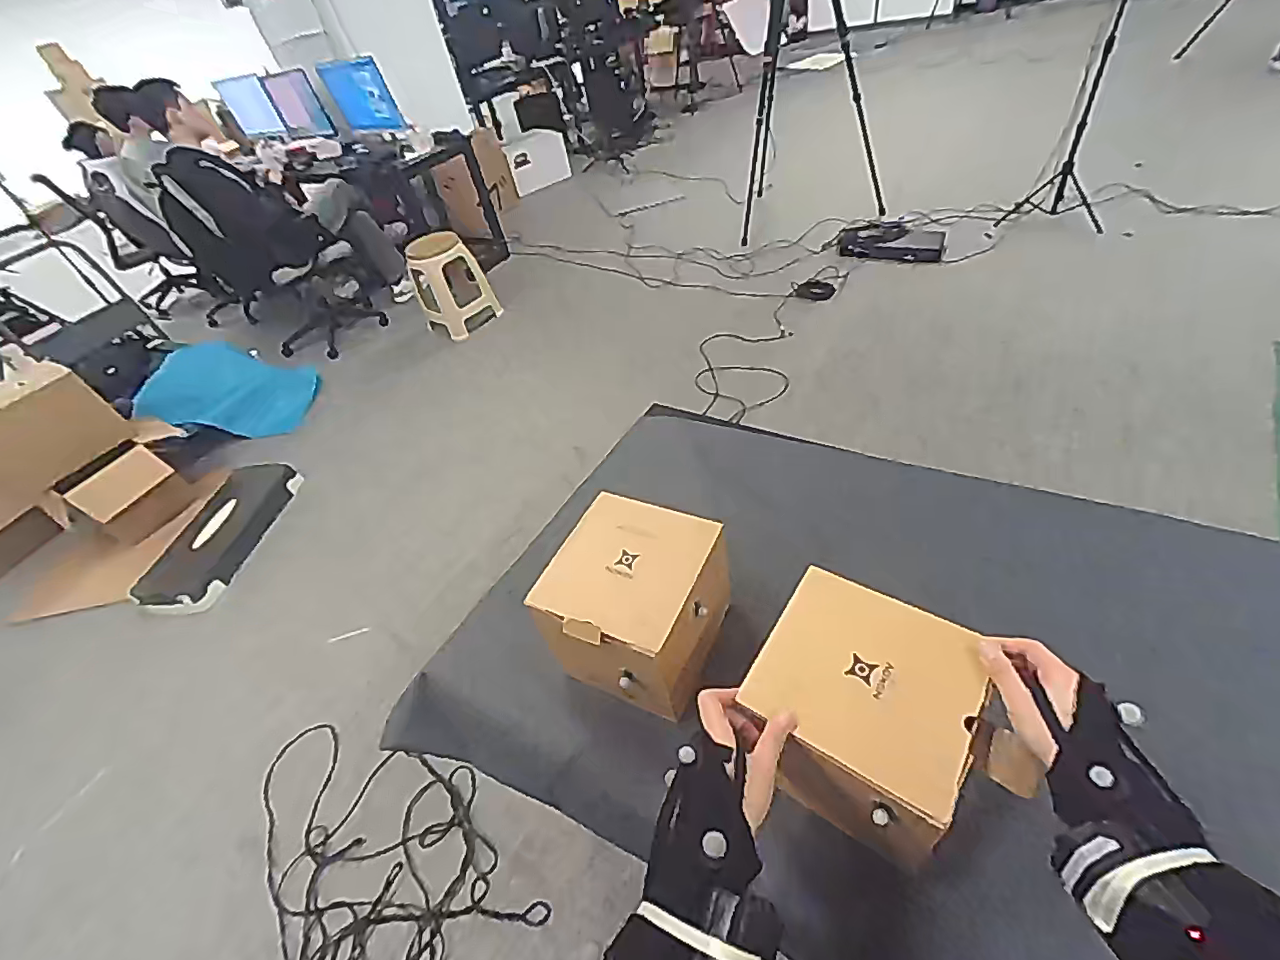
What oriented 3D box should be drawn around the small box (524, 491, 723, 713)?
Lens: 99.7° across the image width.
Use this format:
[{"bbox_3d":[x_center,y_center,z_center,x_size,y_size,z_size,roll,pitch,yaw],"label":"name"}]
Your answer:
[{"bbox_3d":[-0.004,0.146,0.650,0.168,0.176,0.179,14,49,25],"label":"small box"}]
